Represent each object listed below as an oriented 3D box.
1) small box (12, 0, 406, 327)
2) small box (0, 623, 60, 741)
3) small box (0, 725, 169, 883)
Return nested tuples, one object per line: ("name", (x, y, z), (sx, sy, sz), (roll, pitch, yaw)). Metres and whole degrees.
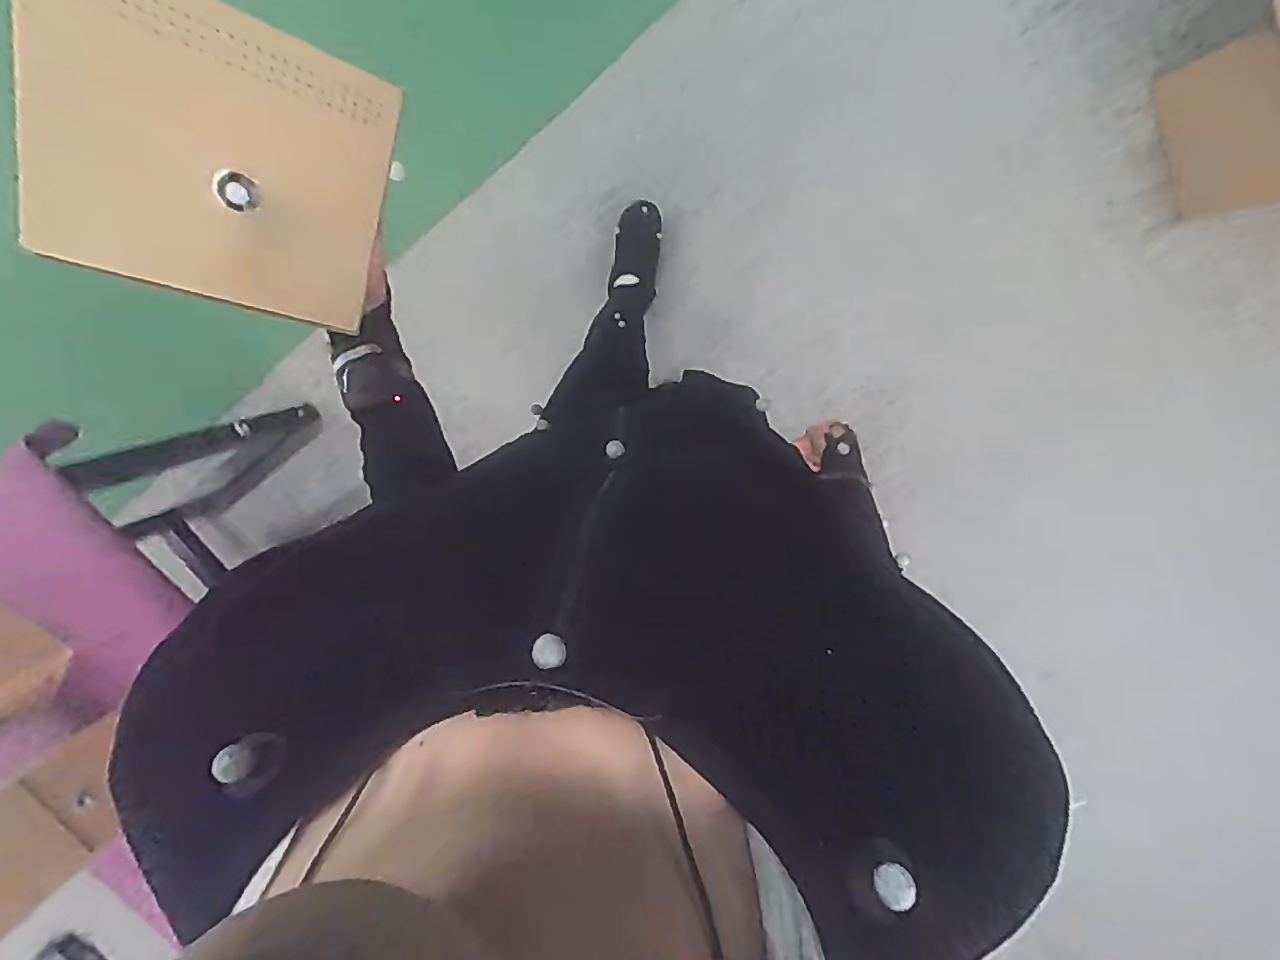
("small box", (-0.284, -0.233, 0.382), (0.179, 0.168, 0.176), (9, 114, -34))
("small box", (-1.103, 0.343, 0.859), (0.179, 0.176, 0.168), (35, 106, -6))
("small box", (-0.968, 0.558, 0.912), (0.168, 0.176, 0.179), (-29, 102, 11))
